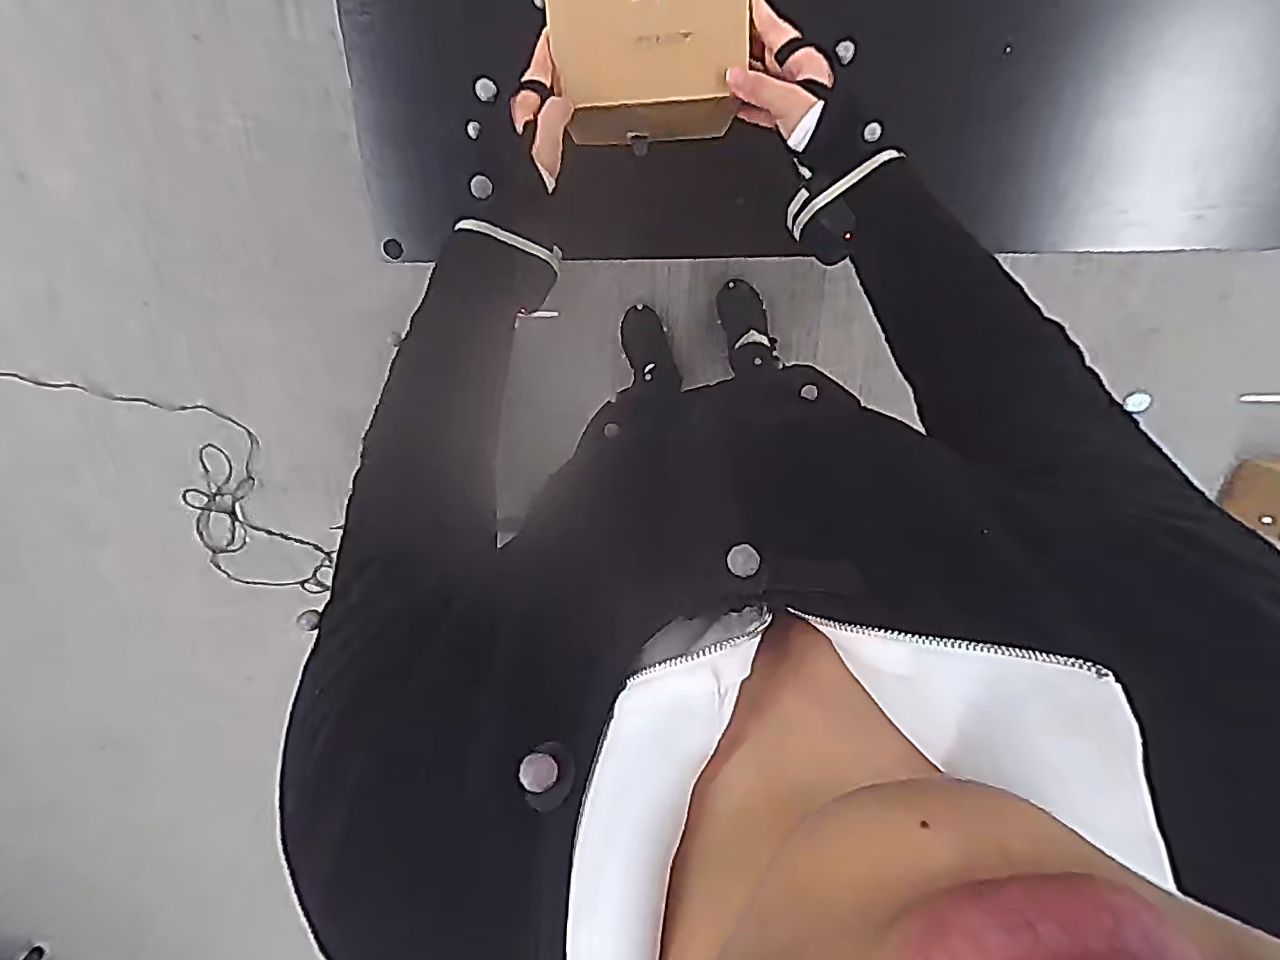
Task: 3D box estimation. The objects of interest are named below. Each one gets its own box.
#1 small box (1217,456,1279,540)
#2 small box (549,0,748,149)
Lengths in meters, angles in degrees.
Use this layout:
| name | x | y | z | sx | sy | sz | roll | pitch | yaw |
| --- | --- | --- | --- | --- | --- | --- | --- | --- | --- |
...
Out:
| name | x | y | z | sx | sy | sz | roll | pitch | yaw |
| --- | --- | --- | --- | --- | --- | --- | --- | --- | --- |
| small box | 1.740 | 0.049 | 1.459 | 0.168 | 0.176 | 0.179 | 1 | 112 | 0 |
| small box | 0.007 | -0.432 | 0.508 | 0.168 | 0.176 | 0.179 | -3 | 112 | 3 |
